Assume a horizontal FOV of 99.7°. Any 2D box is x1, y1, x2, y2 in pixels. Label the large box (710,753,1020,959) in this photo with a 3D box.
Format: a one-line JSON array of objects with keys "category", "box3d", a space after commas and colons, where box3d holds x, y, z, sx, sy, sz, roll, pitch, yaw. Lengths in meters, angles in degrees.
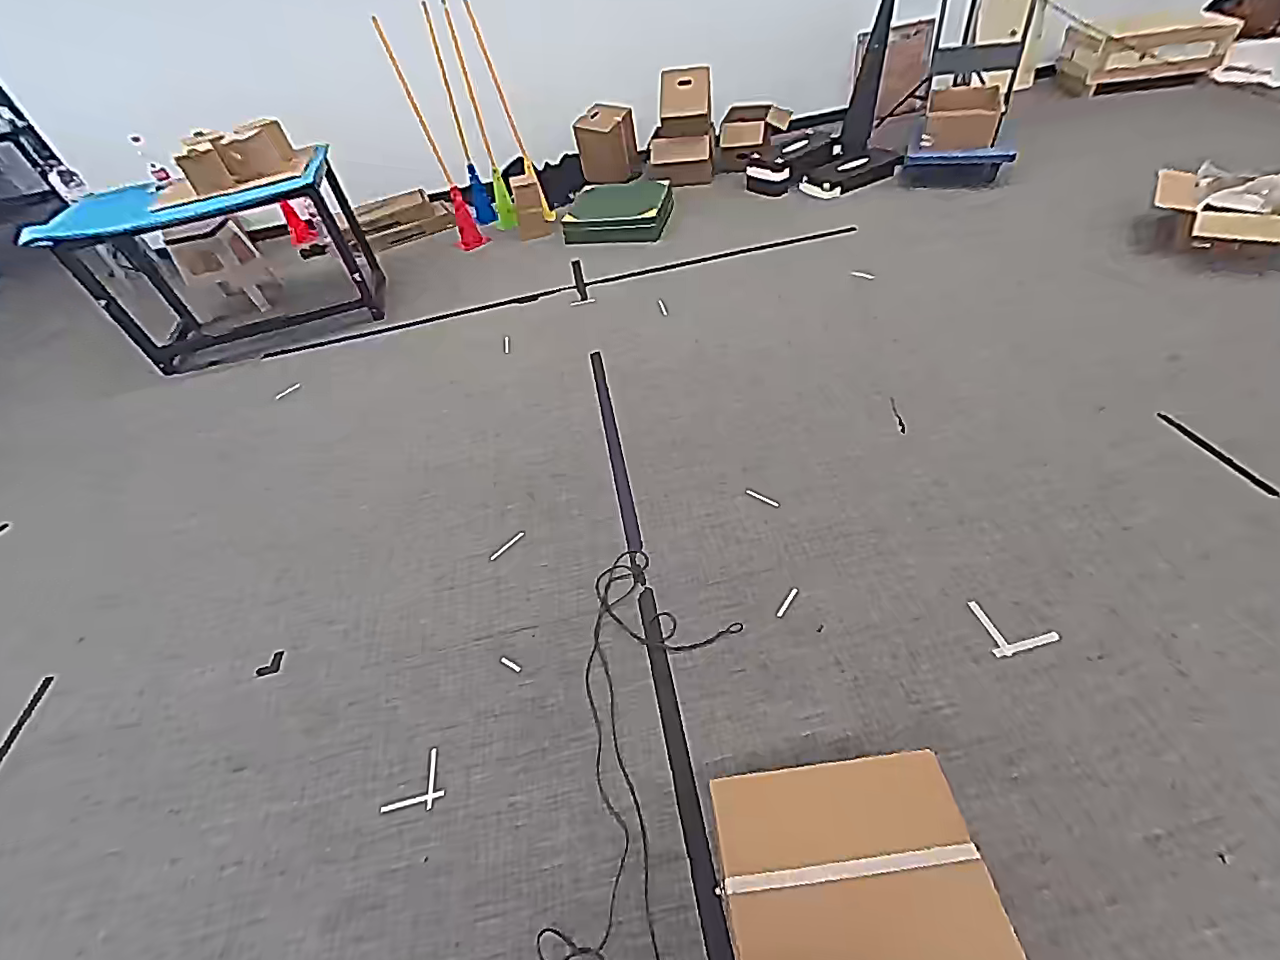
[{"category": "large box", "box3d": [0.356, 0.730, 0.972, 0.408, 0.320, 0.320, -9, 45, 1]}]
